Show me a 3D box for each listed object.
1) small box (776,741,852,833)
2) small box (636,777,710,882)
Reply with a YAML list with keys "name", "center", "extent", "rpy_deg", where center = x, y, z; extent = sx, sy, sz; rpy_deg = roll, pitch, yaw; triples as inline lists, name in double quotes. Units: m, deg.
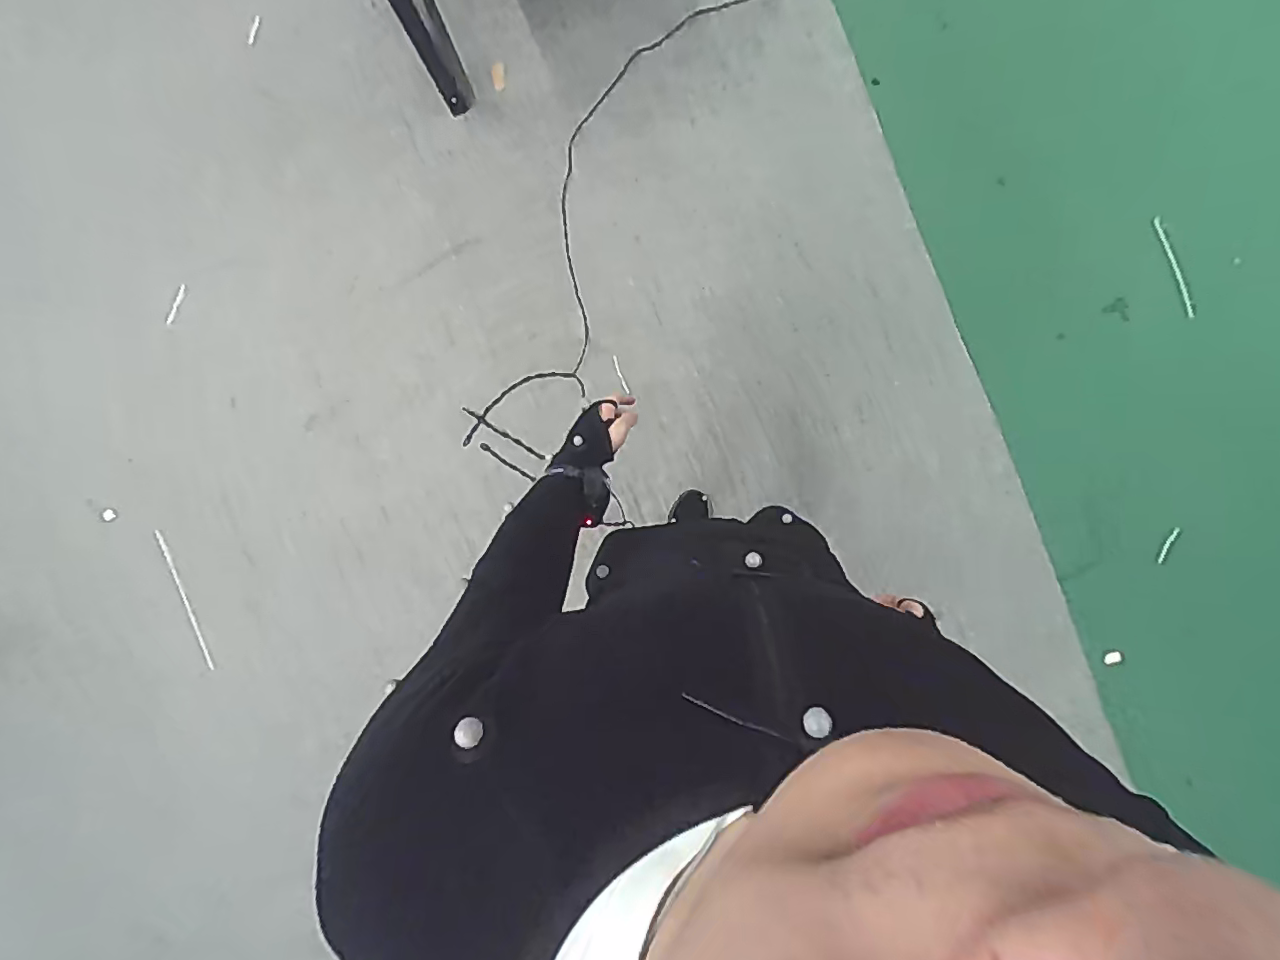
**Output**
- name: "small box"
  center: [0.495, 0.876, 1.557]
  extent: [0.168, 0.176, 0.179]
  rpy_deg: [1, 91, 1]
- name: "small box"
  center: [0.089, 0.993, 1.560]
  extent: [0.168, 0.176, 0.179]
  rpy_deg: [-19, 91, 0]
